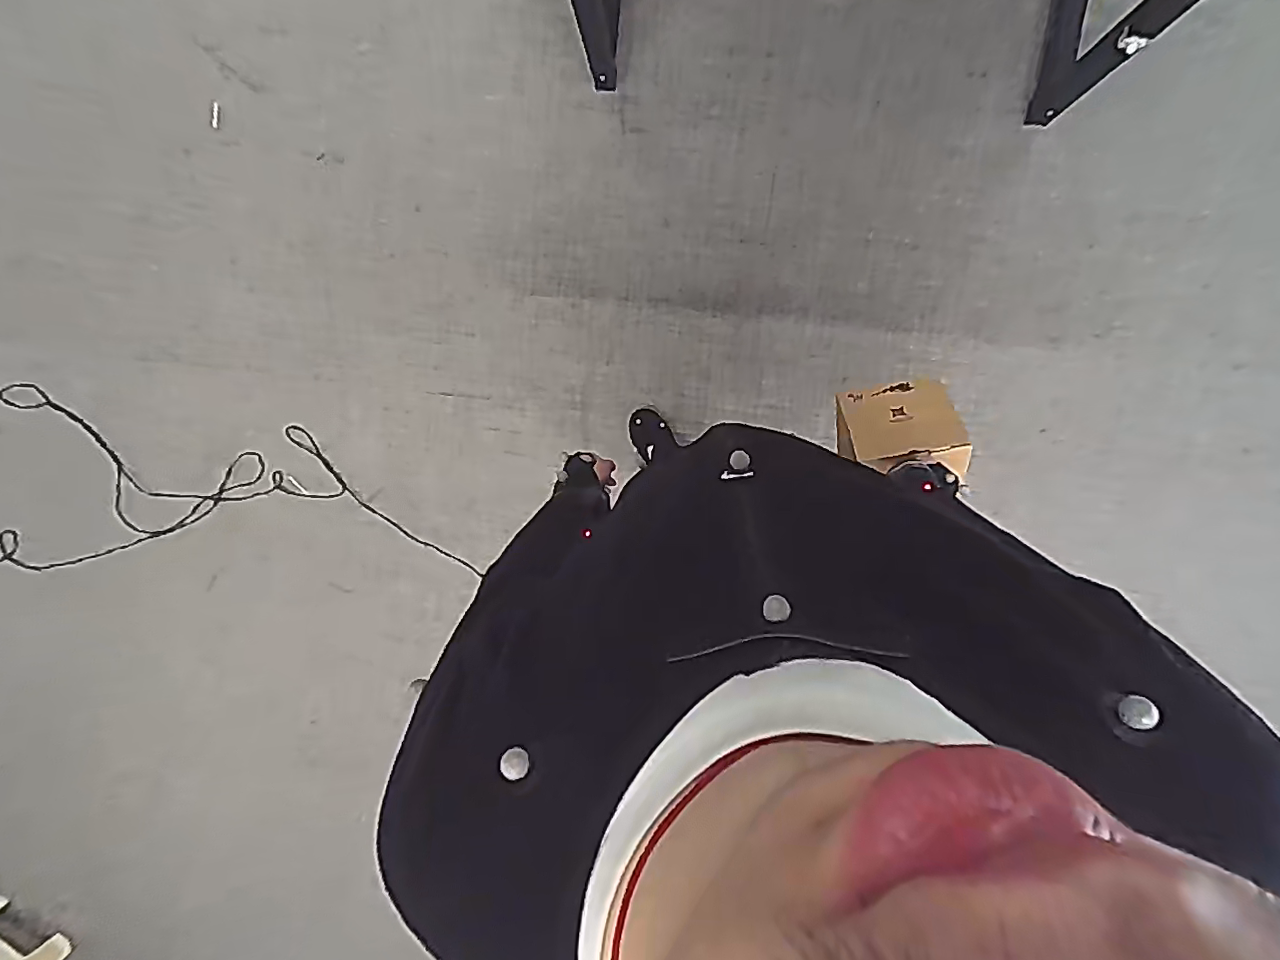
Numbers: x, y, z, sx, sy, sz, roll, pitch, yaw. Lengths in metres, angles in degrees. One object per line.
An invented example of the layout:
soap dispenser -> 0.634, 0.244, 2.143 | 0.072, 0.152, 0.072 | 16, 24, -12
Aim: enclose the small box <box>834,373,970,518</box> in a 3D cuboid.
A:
small box -> 0.446, -0.050, 0.938 | 0.168, 0.179, 0.176 | -13, 136, 14
